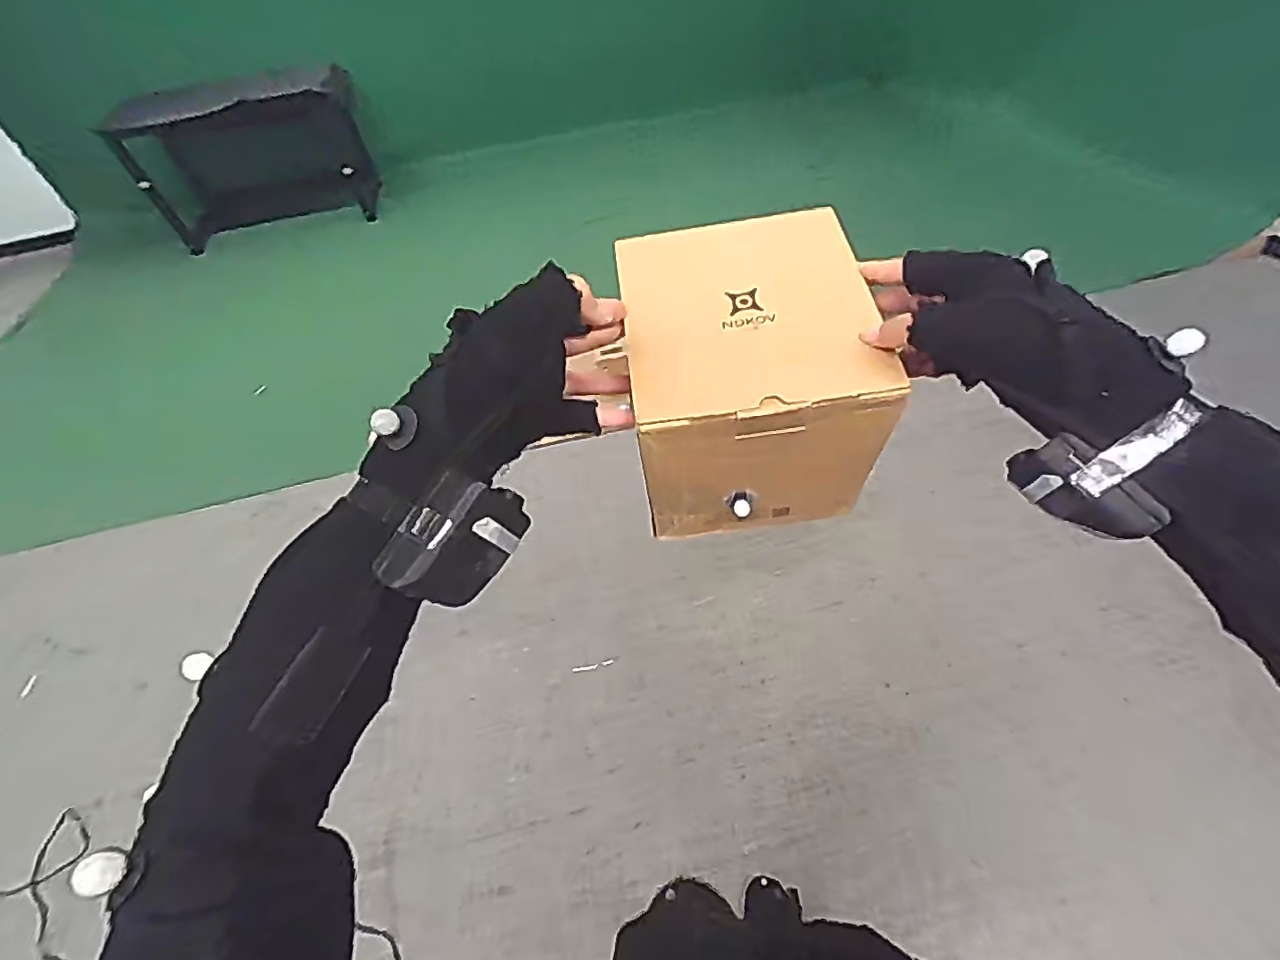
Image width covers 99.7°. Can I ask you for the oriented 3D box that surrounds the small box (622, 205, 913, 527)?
[{"bbox_3d":[0.080,-0.082,0.433,0.168,0.176,0.179,-8,61,1],"label":"small box"}]

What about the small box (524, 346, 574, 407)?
[{"bbox_3d":[-0.370,-0.424,2.185,0.168,0.176,0.179,-14,50,-1],"label":"small box"}]
